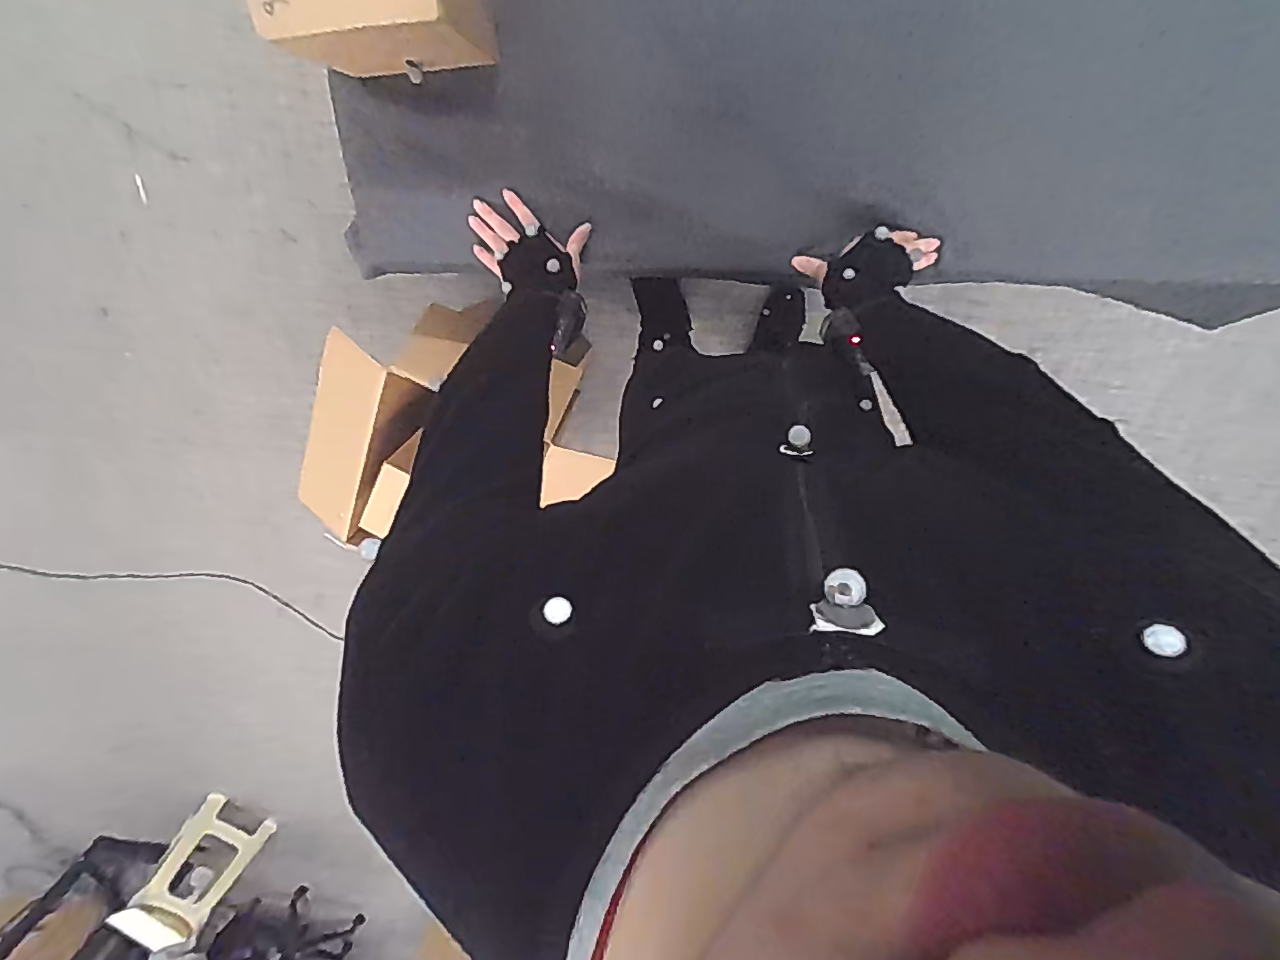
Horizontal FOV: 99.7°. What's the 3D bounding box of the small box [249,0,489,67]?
[{"bbox_3d":[-0.254,-0.510,0.507,0.179,0.176,0.168,-1,117,5],"label":"small box"}]
